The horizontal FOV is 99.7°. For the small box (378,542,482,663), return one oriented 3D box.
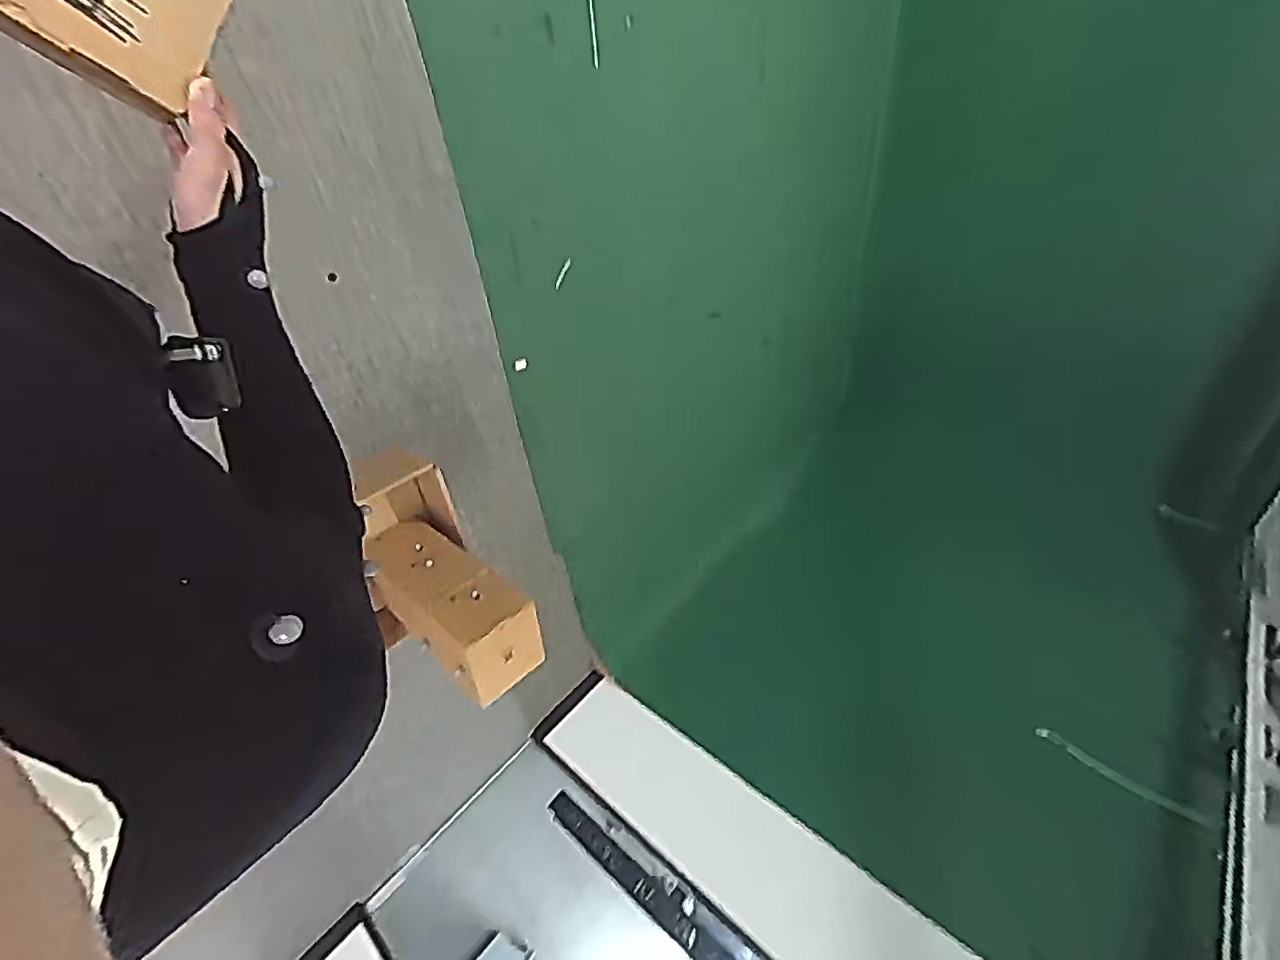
[{"bbox_3d":[-0.469,0.275,1.246,0.168,0.176,0.179,-34,133,-39],"label":"small box"}]

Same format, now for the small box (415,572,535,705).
[{"bbox_3d":[-0.349,0.329,1.152,0.168,0.176,0.179,-32,131,-39],"label":"small box"}]

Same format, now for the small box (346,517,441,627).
[{"bbox_3d":[-0.592,0.221,1.341,0.168,0.176,0.179,-35,134,-37],"label":"small box"}]
